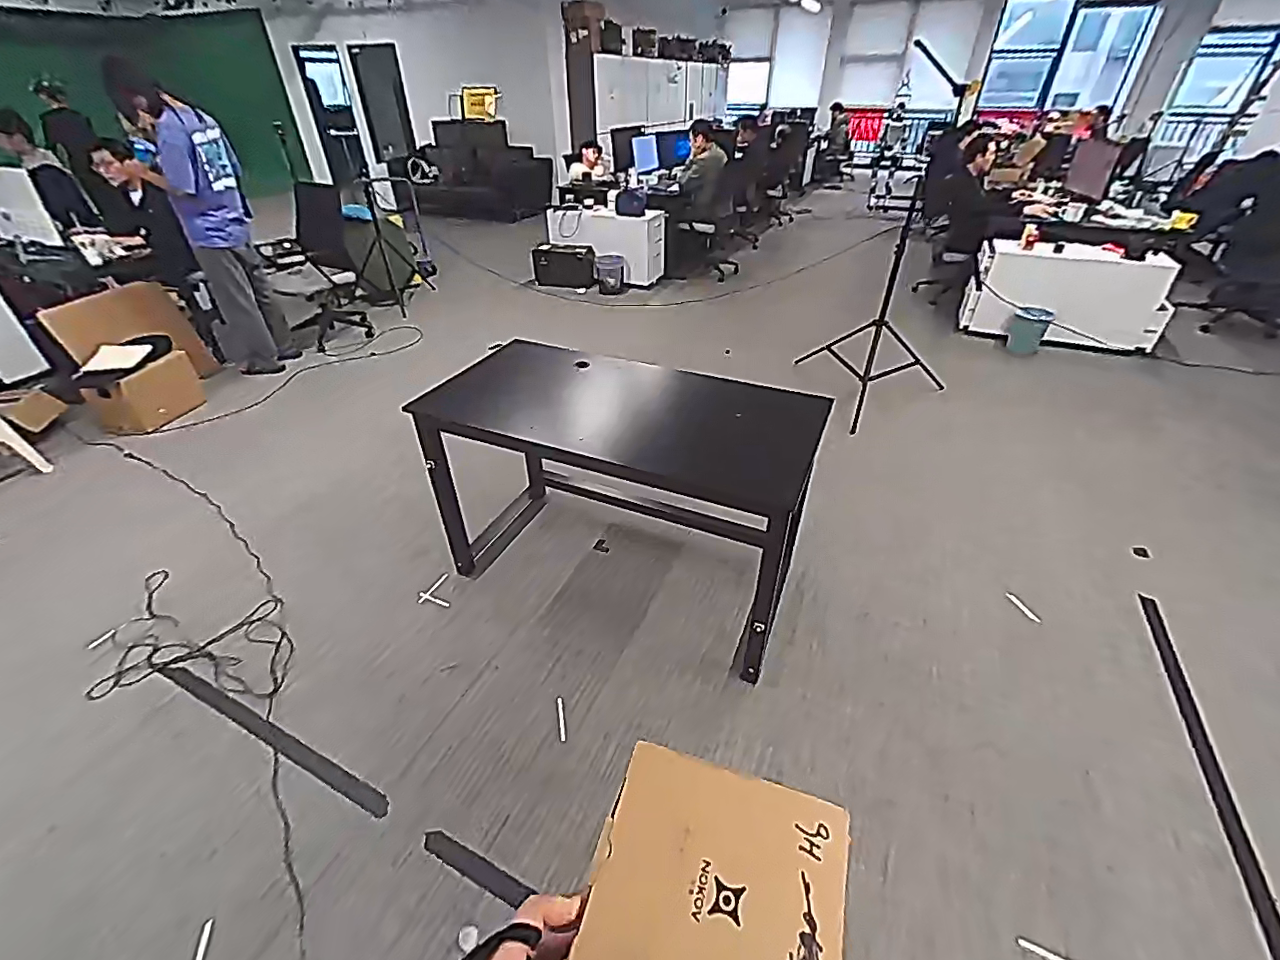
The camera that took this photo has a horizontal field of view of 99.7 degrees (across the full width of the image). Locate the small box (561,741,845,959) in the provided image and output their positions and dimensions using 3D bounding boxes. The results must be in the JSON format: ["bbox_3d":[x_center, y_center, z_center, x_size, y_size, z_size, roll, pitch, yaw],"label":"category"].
[{"bbox_3d":[0.055,0.348,0.443,0.179,0.176,0.168,12,49,14],"label":"small box"}]
